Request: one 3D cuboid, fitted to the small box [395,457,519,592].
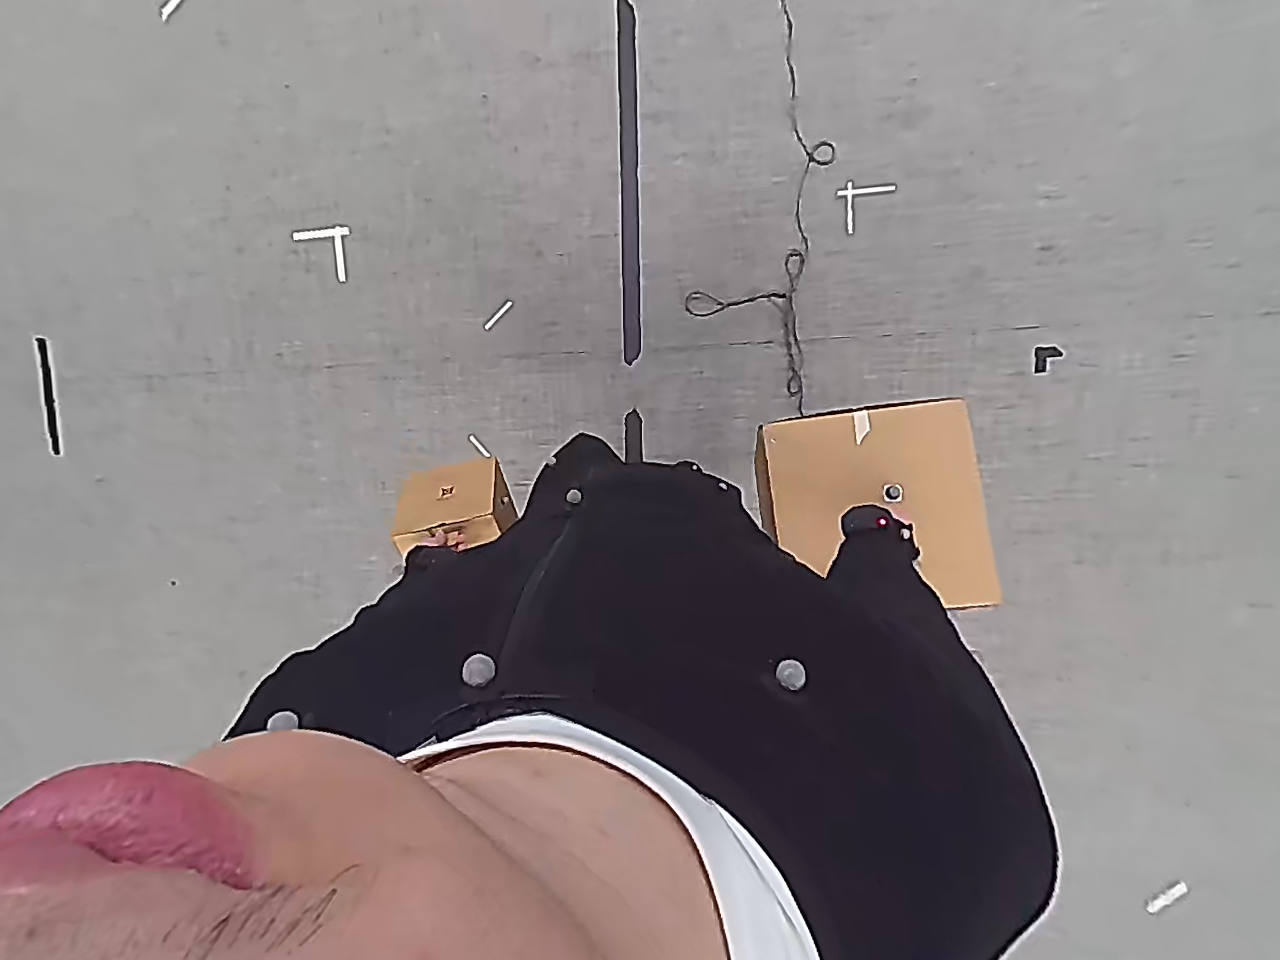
[{"bbox_3d":[-0.324,0.087,0.993,0.168,0.179,0.176,-12,128,-4],"label":"small box"}]
